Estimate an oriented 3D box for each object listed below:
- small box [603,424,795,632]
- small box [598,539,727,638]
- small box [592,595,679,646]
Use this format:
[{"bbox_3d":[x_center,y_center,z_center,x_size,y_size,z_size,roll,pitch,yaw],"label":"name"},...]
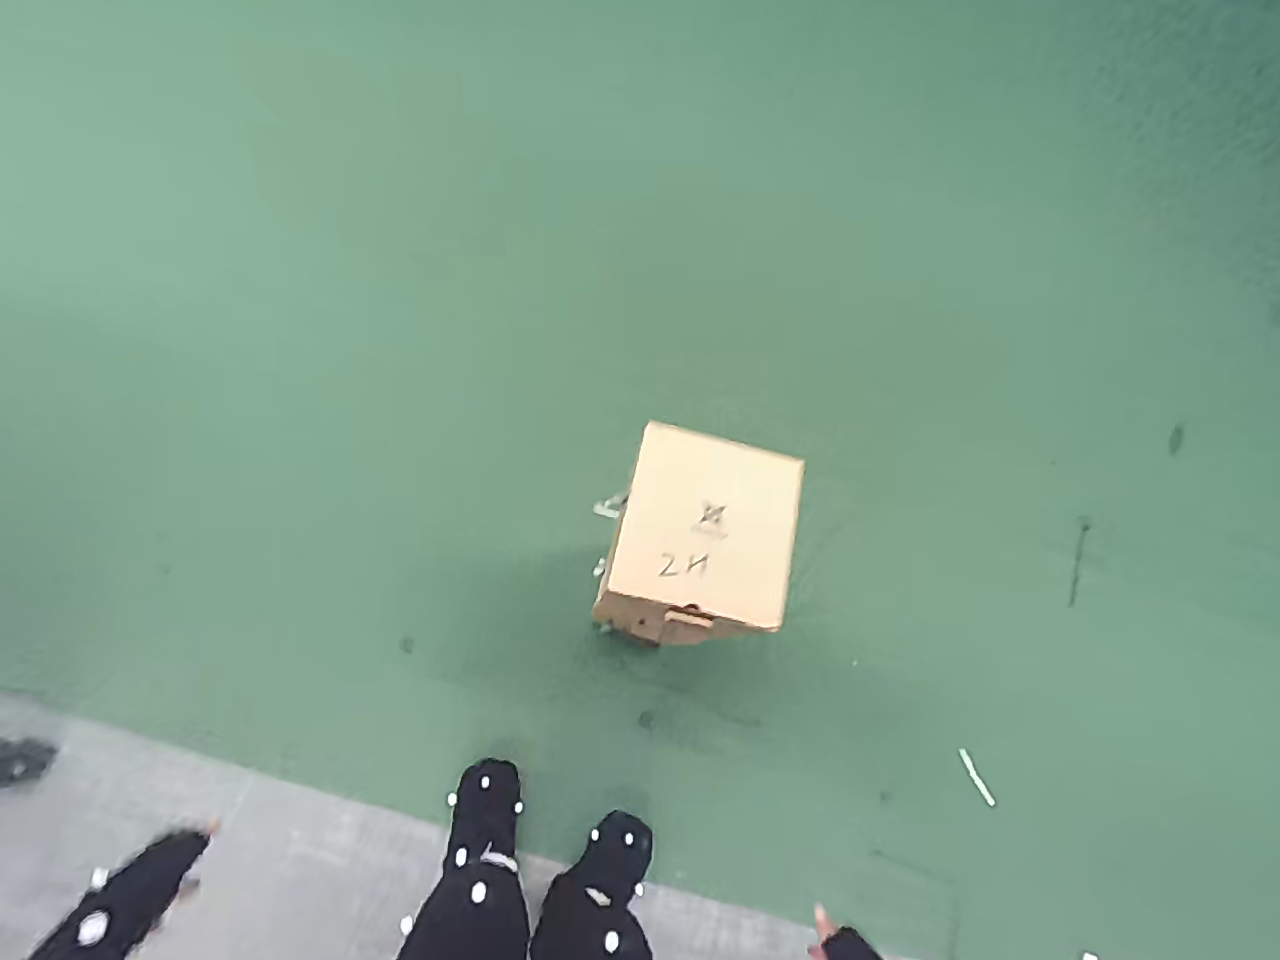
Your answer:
[{"bbox_3d":[0.056,0.065,0.610,0.168,0.176,0.179,14,72,-2],"label":"small box"},{"bbox_3d":[0.039,0.116,0.766,0.168,0.176,0.179,15,72,-2],"label":"small box"},{"bbox_3d":[0.008,0.220,1.075,0.168,0.176,0.179,18,71,-1],"label":"small box"}]
